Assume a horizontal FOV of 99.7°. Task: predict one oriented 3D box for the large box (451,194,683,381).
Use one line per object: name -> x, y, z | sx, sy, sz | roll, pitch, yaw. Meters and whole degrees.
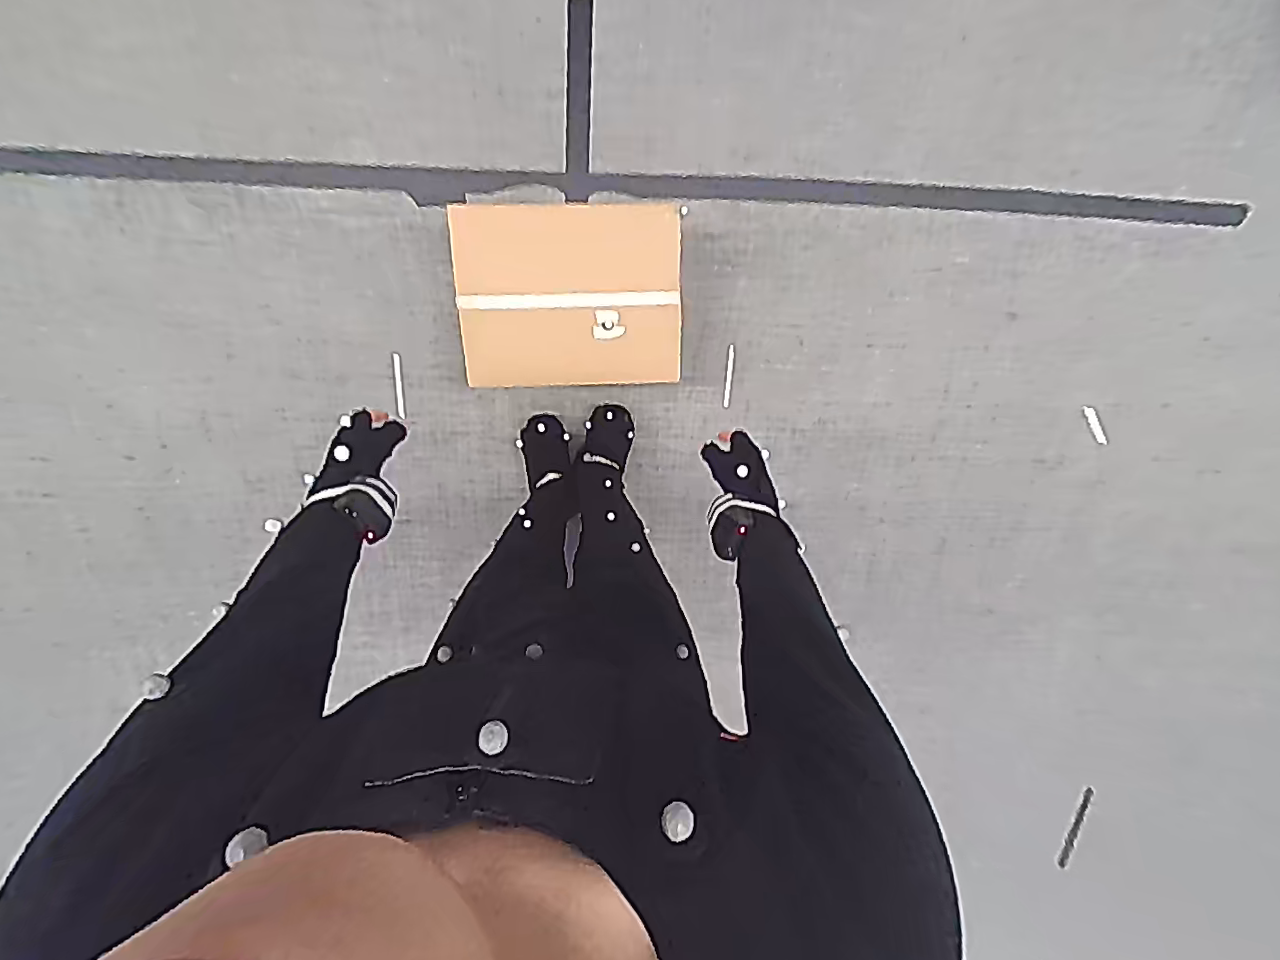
large box -> -0.135, -0.390, 1.117 | 0.408, 0.320, 0.320 | -3, 110, -5
